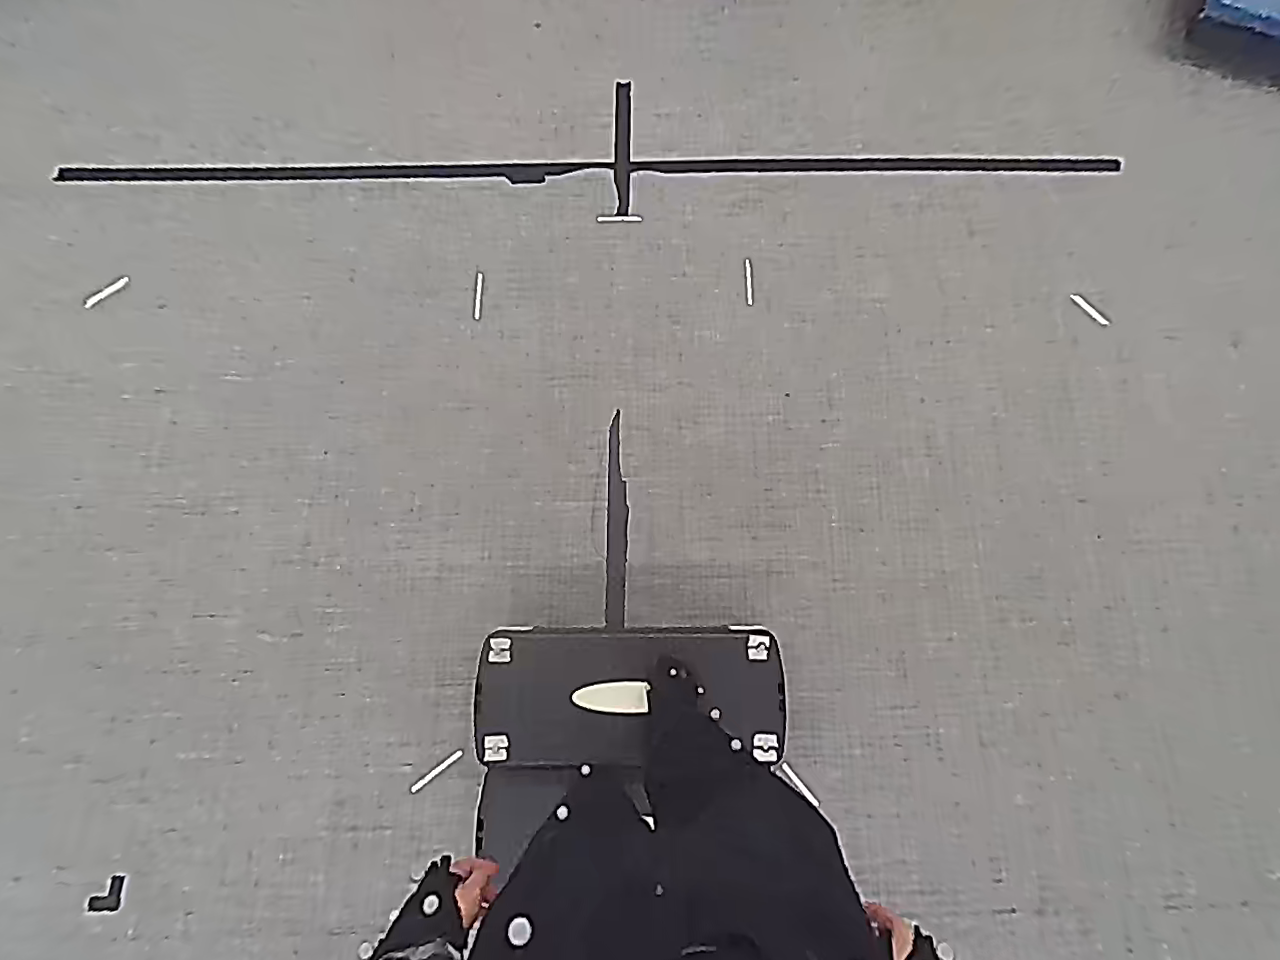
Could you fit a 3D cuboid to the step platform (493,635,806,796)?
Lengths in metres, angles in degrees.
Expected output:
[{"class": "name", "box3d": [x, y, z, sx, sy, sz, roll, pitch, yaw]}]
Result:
[{"class": "step platform", "box3d": [0.020, 0.520, 1.226, 0.684, 0.204, 0.286, 4, 74, 0]}]
